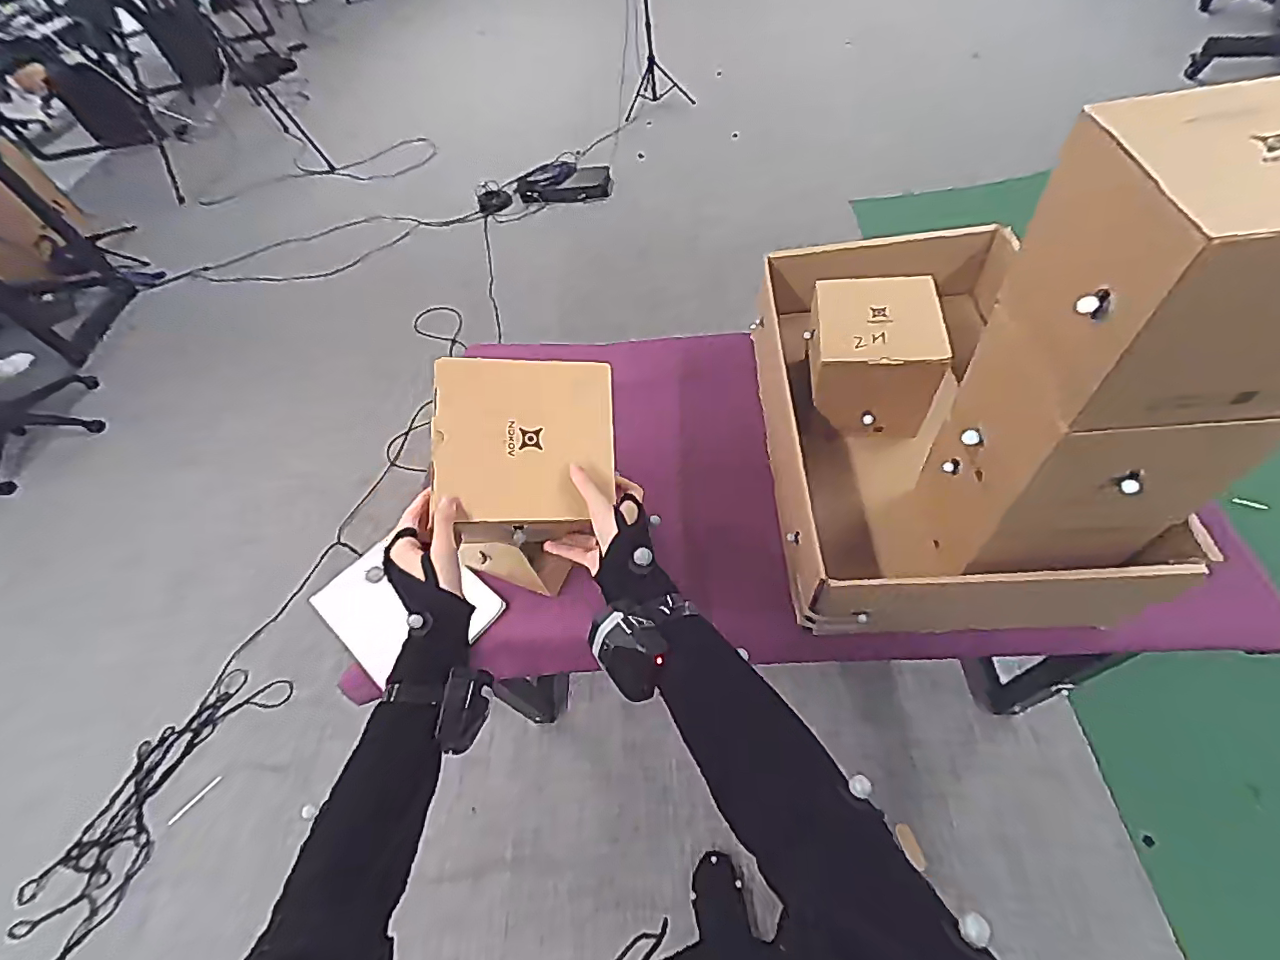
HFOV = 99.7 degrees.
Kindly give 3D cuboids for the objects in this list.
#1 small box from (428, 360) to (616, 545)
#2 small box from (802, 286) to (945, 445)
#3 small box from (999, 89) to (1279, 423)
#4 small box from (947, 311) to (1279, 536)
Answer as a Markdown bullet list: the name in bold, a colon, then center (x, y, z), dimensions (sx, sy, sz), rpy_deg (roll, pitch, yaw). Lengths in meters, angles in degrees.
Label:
- **small box**: center (-0.125, -0.019, 0.605), dimensions (0.179, 0.176, 0.168), rpy_deg (2, 77, -10)
- **small box**: center (0.344, -0.176, 0.834), dimensions (0.168, 0.176, 0.179), rpy_deg (3, 56, 11)
- **small box**: center (0.410, -0.155, 0.405), dimensions (0.168, 0.176, 0.179), rpy_deg (-3, 54, 9)
- **small box**: center (0.437, -0.056, 0.532), dimensions (0.179, 0.176, 0.168), rpy_deg (-4, 54, 10)
